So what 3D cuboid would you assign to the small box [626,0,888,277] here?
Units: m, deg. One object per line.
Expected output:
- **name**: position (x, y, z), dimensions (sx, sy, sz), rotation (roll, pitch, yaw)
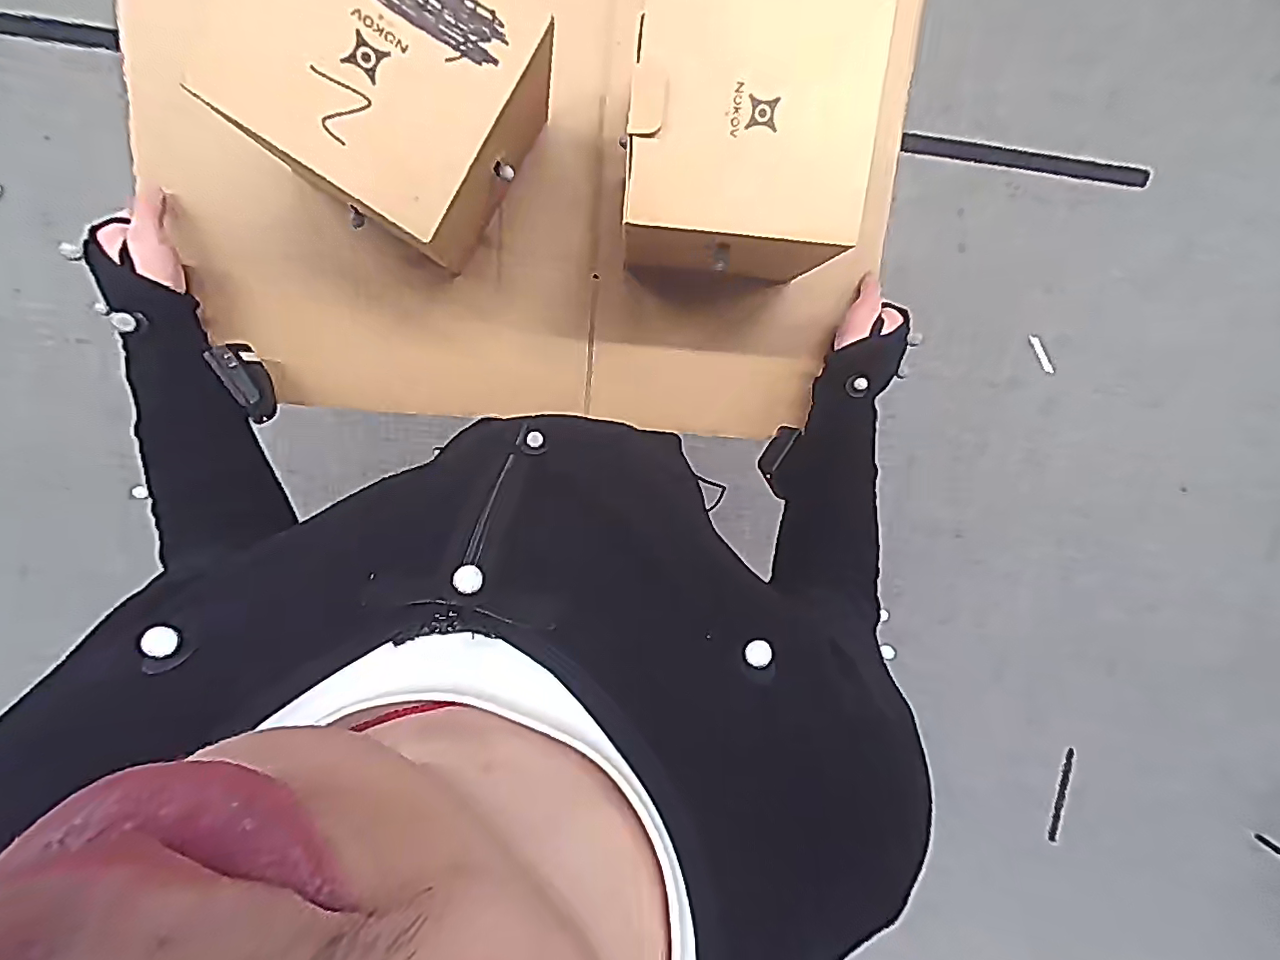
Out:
- **small box**: position (0.082, -0.281, 0.475), dimensions (0.179, 0.176, 0.168), rotation (5, 102, -1)
